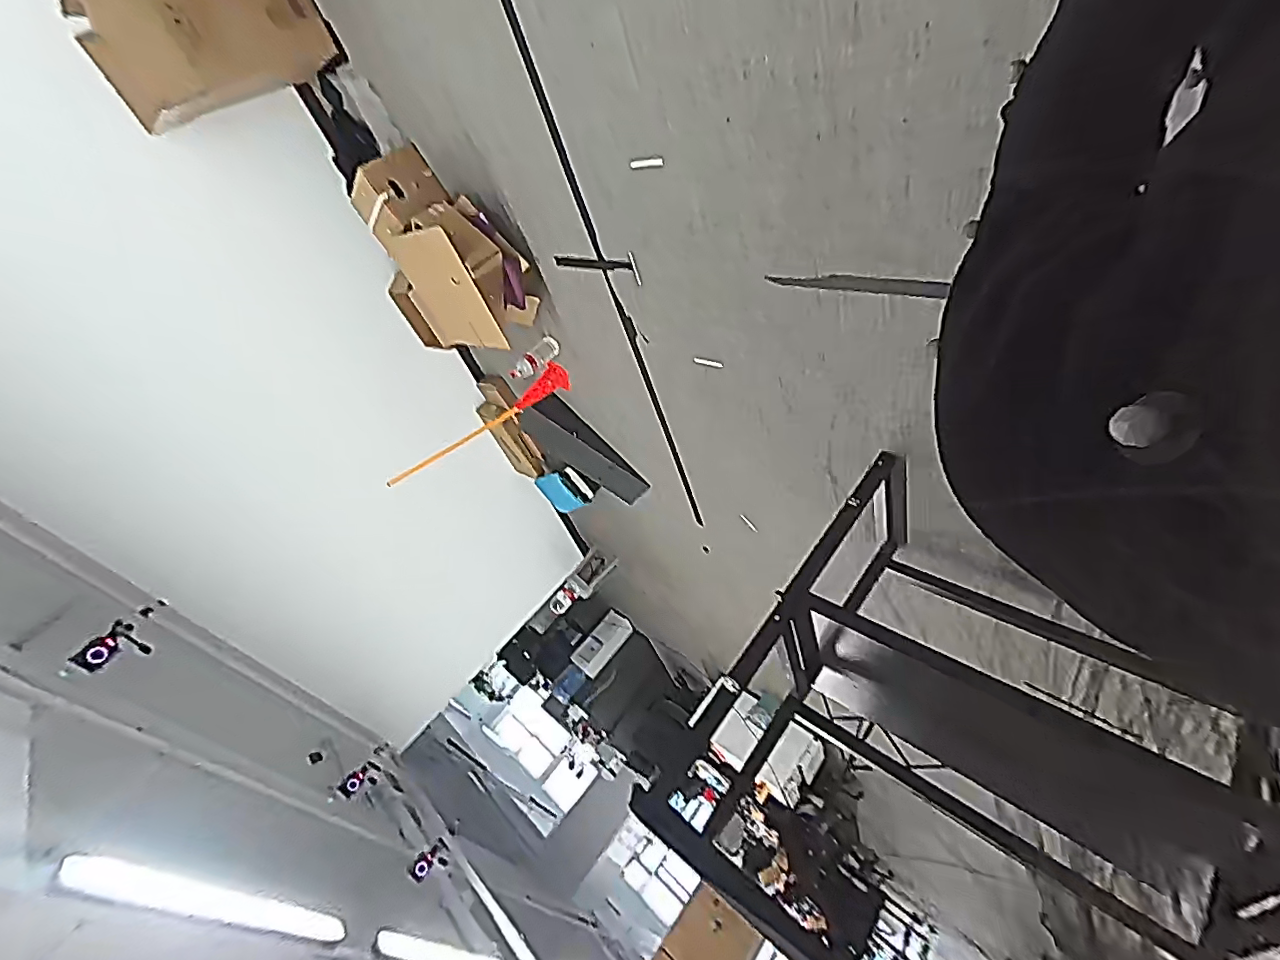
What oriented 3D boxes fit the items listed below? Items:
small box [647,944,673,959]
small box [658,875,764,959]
[{"bbox_3d":[0.070,1.187,1.209,0.168,0.176,0.179,24,150,38],"label":"small box"},{"bbox_3d":[0.174,1.077,1.271,0.168,0.176,0.179,22,149,38],"label":"small box"}]
